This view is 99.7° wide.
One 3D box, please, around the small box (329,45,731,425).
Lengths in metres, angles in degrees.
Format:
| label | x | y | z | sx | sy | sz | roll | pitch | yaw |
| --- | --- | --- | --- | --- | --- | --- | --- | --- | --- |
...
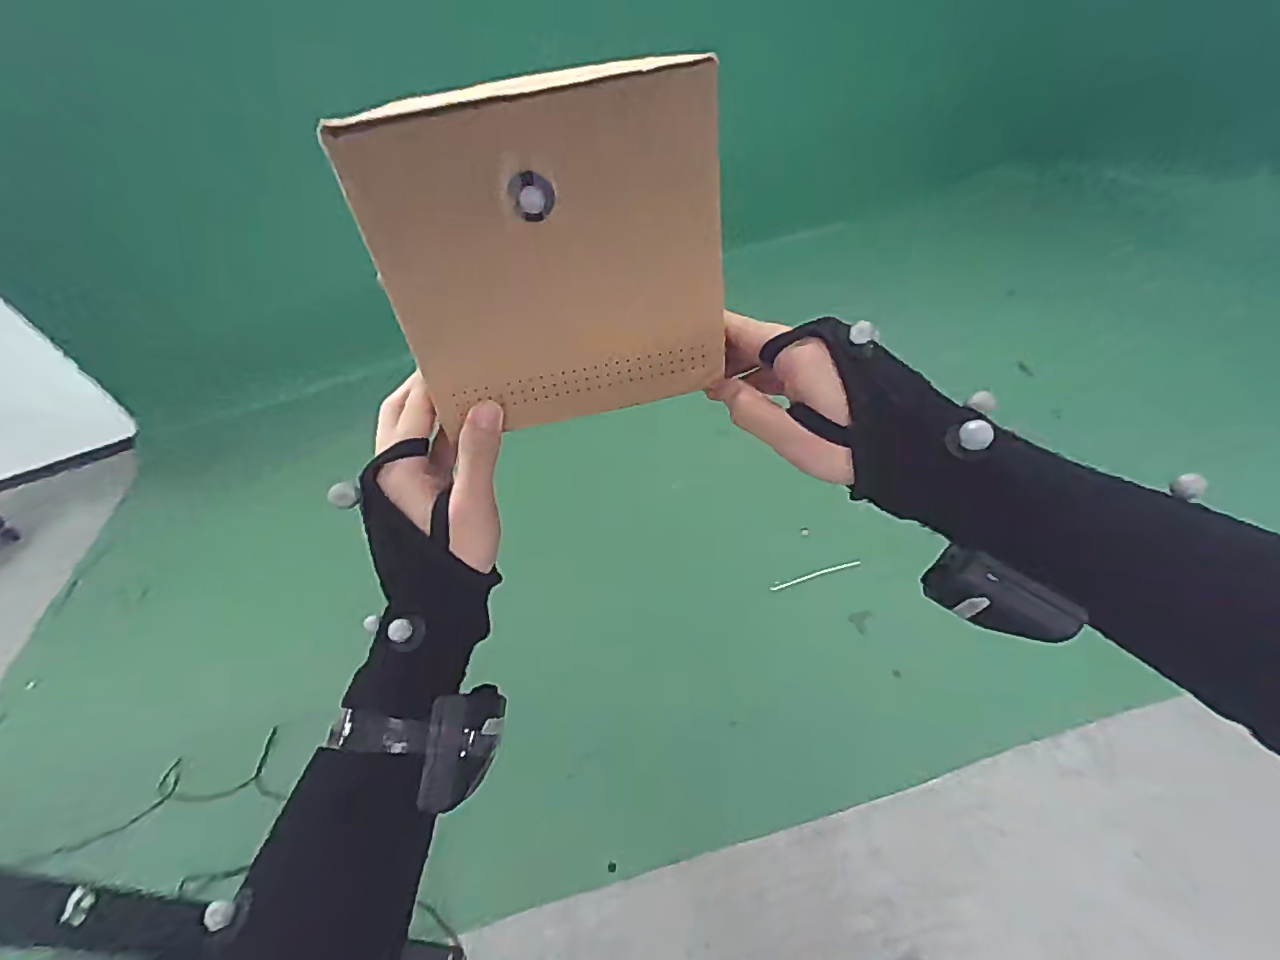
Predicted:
| label | x | y | z | sx | sy | sz | roll | pitch | yaw |
| --- | --- | --- | --- | --- | --- | --- | --- | --- | --- |
| small box | -0.048 | -0.151 | 0.342 | 0.179 | 0.176 | 0.168 | -11 | 38 | -2 |
